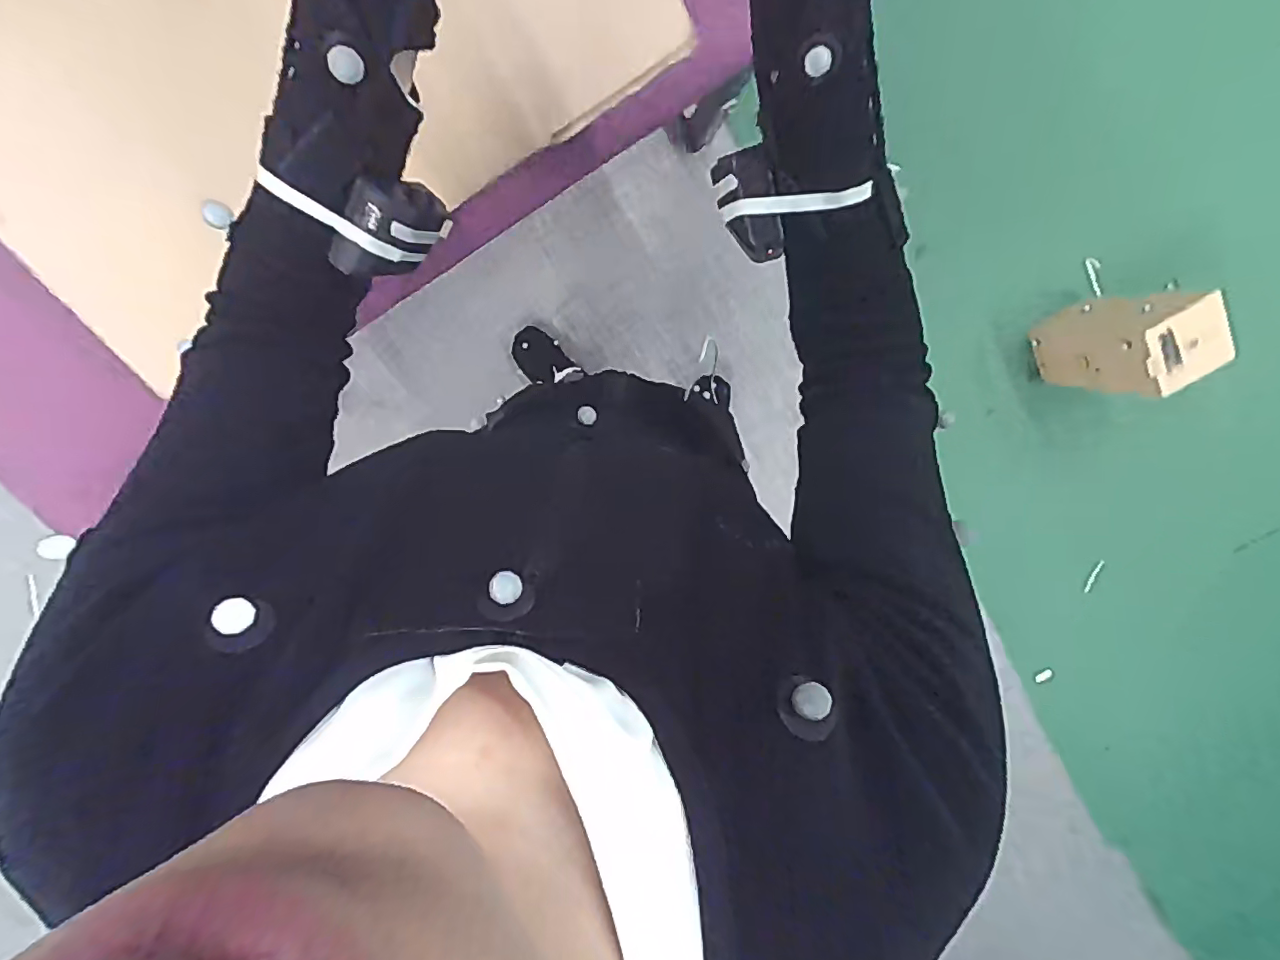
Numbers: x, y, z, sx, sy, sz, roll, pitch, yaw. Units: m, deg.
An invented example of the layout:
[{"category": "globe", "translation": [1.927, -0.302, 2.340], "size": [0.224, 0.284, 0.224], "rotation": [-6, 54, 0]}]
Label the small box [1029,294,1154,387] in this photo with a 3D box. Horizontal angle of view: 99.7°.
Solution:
[{"category": "small box", "translation": [1.160, -0.362, 1.407], "size": [0.179, 0.176, 0.168], "rotation": [-31, 107, 4]}]
